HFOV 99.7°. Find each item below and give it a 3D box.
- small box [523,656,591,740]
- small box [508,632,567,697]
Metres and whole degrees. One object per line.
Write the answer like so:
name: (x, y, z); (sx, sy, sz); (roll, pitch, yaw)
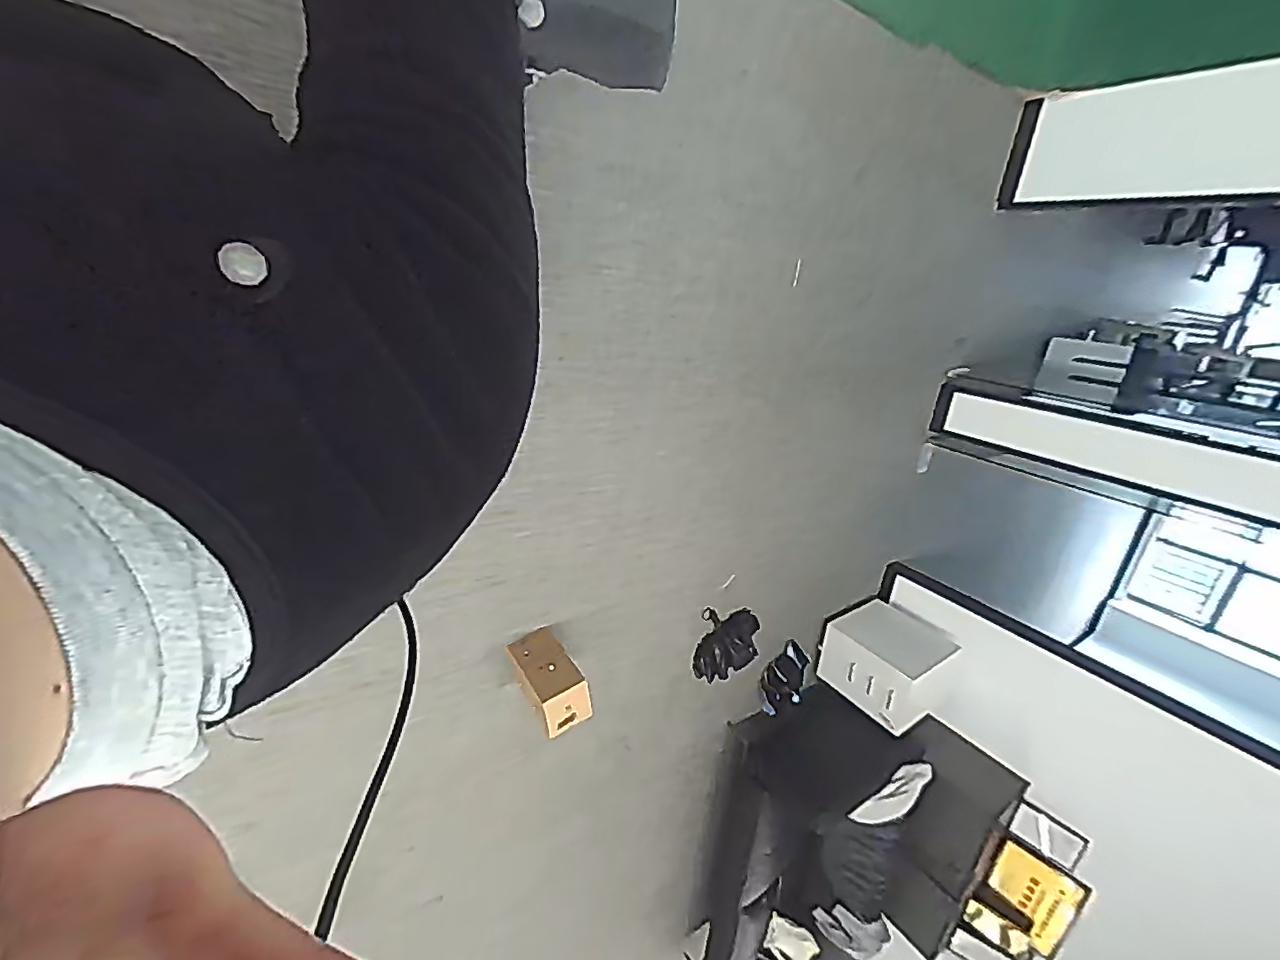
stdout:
small box: (-0.289, 0.748, 1.872); (0.168, 0.176, 0.179); (-20, 120, -27)
small box: (-0.374, 0.691, 2.000); (0.168, 0.176, 0.179); (-21, 123, -26)
